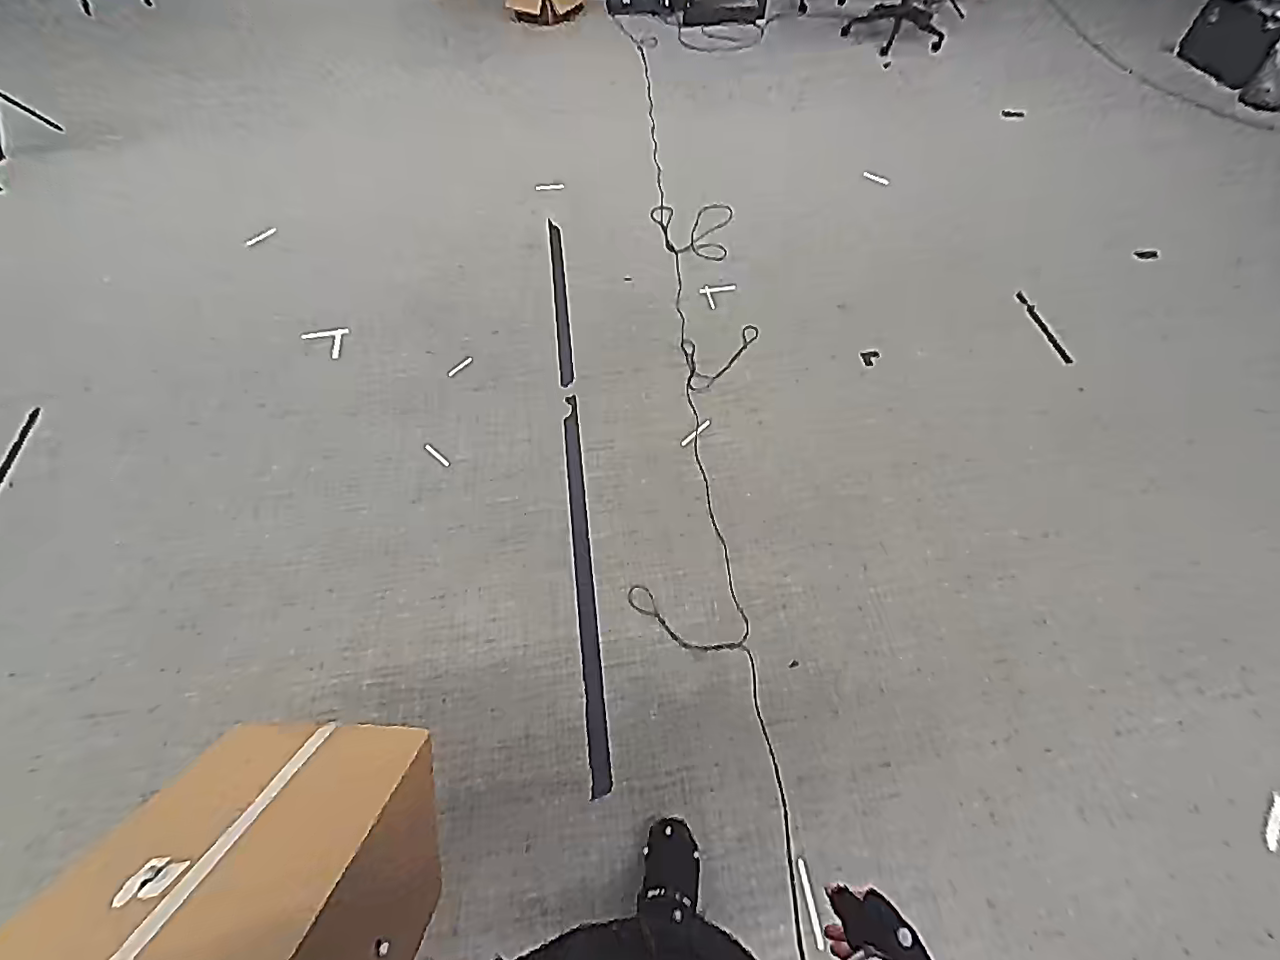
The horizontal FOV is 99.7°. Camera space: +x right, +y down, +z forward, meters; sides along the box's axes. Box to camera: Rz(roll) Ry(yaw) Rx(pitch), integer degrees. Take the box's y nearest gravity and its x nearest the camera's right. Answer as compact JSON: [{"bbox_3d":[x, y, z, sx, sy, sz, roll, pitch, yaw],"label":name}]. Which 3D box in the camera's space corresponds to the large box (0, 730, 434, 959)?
[{"bbox_3d":[-0.494,0.594,0.701,0.320,0.320,0.408,1,12,1],"label":"large box"}]
